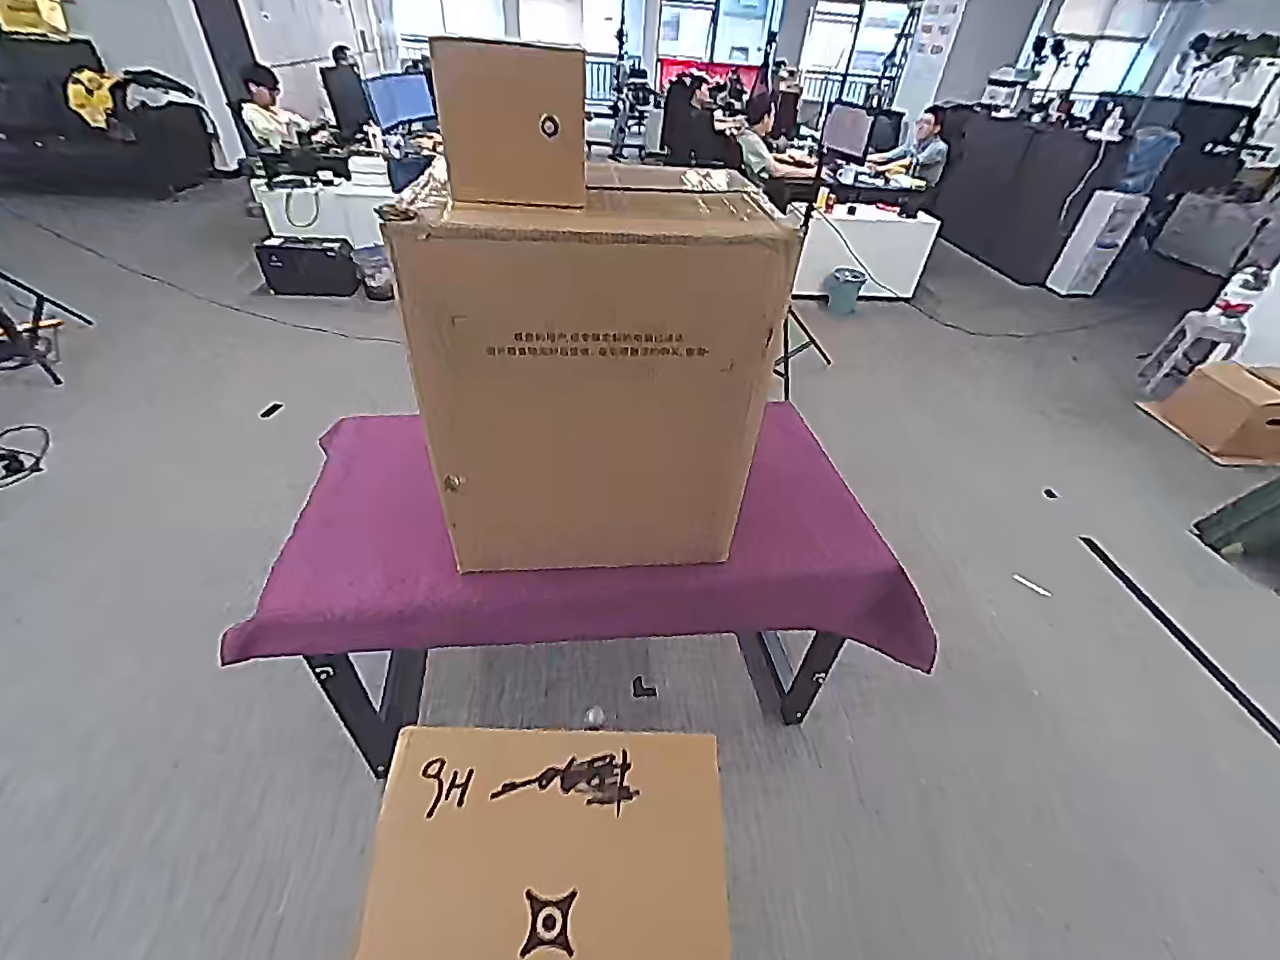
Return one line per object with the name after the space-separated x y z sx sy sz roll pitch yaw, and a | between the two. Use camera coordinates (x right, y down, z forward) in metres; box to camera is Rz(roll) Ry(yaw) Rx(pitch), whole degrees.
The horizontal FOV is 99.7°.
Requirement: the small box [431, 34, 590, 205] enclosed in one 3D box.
-0.159 -0.473 0.715 0.179 0.176 0.168 -2 39 -8 | small box
